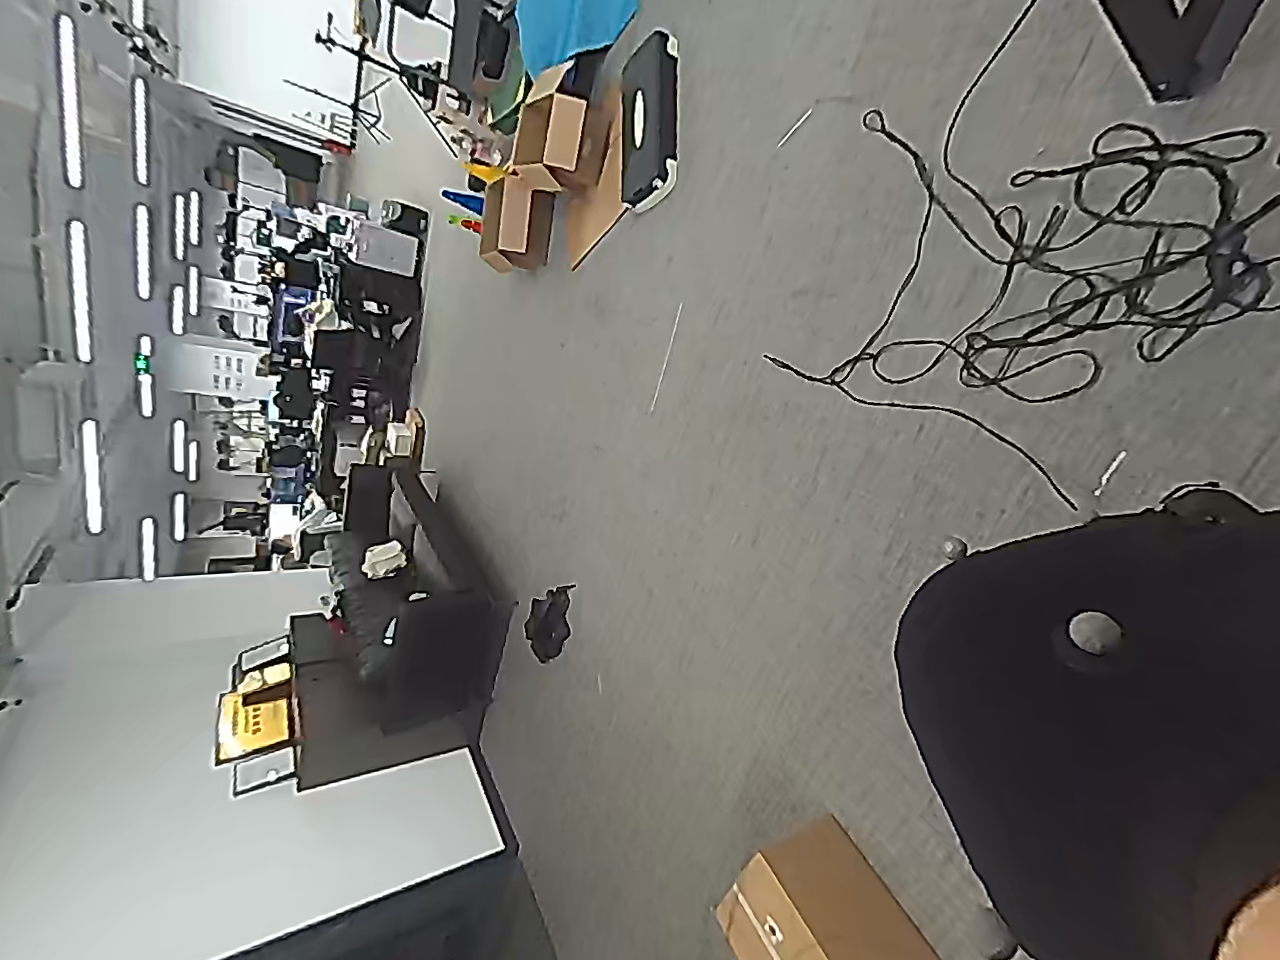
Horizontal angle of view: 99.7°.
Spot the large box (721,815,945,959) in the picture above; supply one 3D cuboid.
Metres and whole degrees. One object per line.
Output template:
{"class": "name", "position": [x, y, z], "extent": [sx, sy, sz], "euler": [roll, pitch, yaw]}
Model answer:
{"class": "large box", "position": [0.492, 1.195, 1.411], "extent": [0.408, 0.320, 0.320], "euler": [49, 126, 46]}
